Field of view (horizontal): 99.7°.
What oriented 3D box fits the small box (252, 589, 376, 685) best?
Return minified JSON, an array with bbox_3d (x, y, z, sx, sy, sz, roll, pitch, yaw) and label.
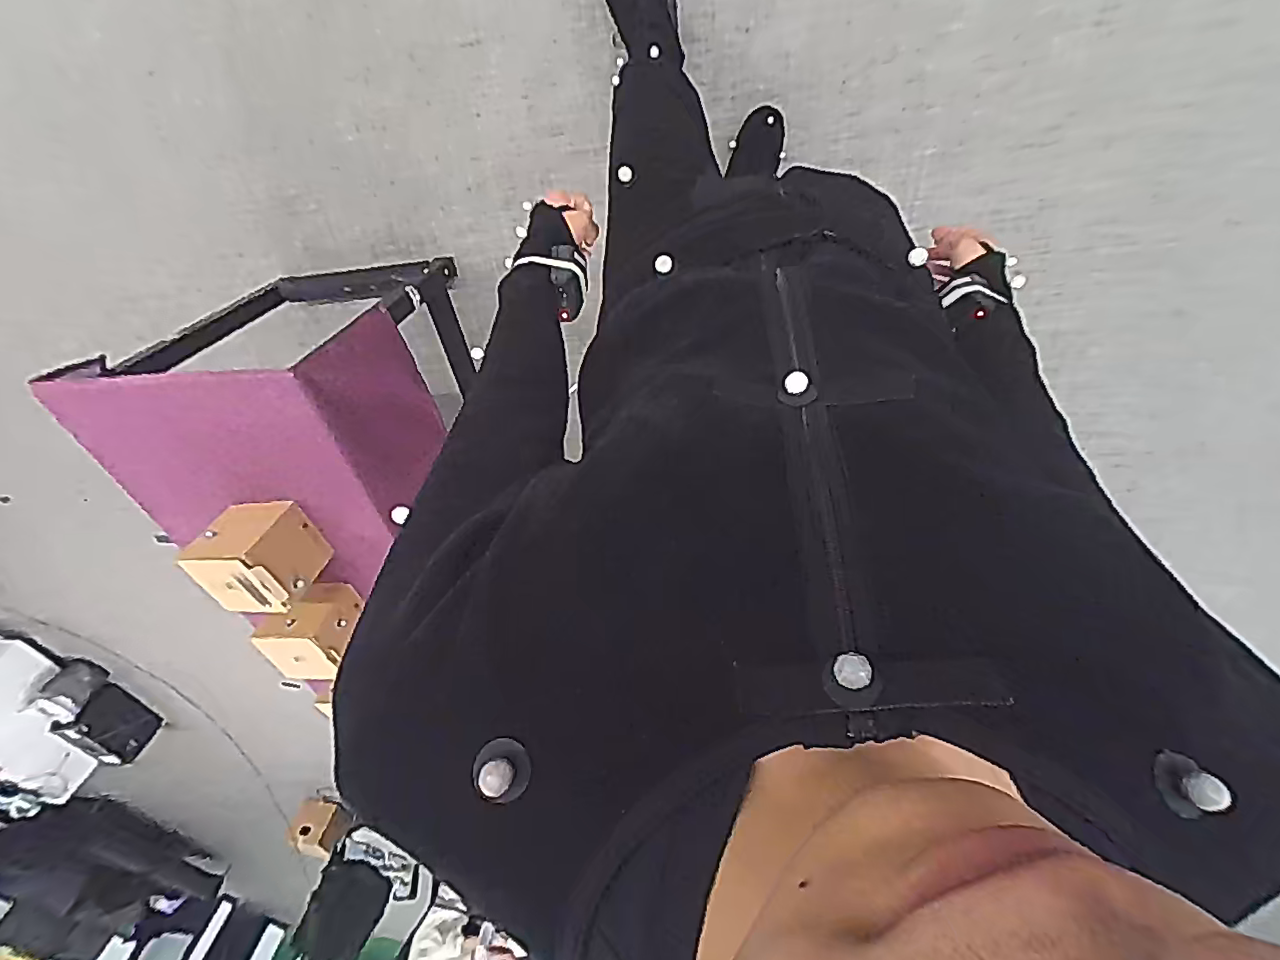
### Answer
[{"bbox_3d":[-0.789,0.385,1.337,0.179,0.176,0.168,-4,127,13],"label":"small box"}]
